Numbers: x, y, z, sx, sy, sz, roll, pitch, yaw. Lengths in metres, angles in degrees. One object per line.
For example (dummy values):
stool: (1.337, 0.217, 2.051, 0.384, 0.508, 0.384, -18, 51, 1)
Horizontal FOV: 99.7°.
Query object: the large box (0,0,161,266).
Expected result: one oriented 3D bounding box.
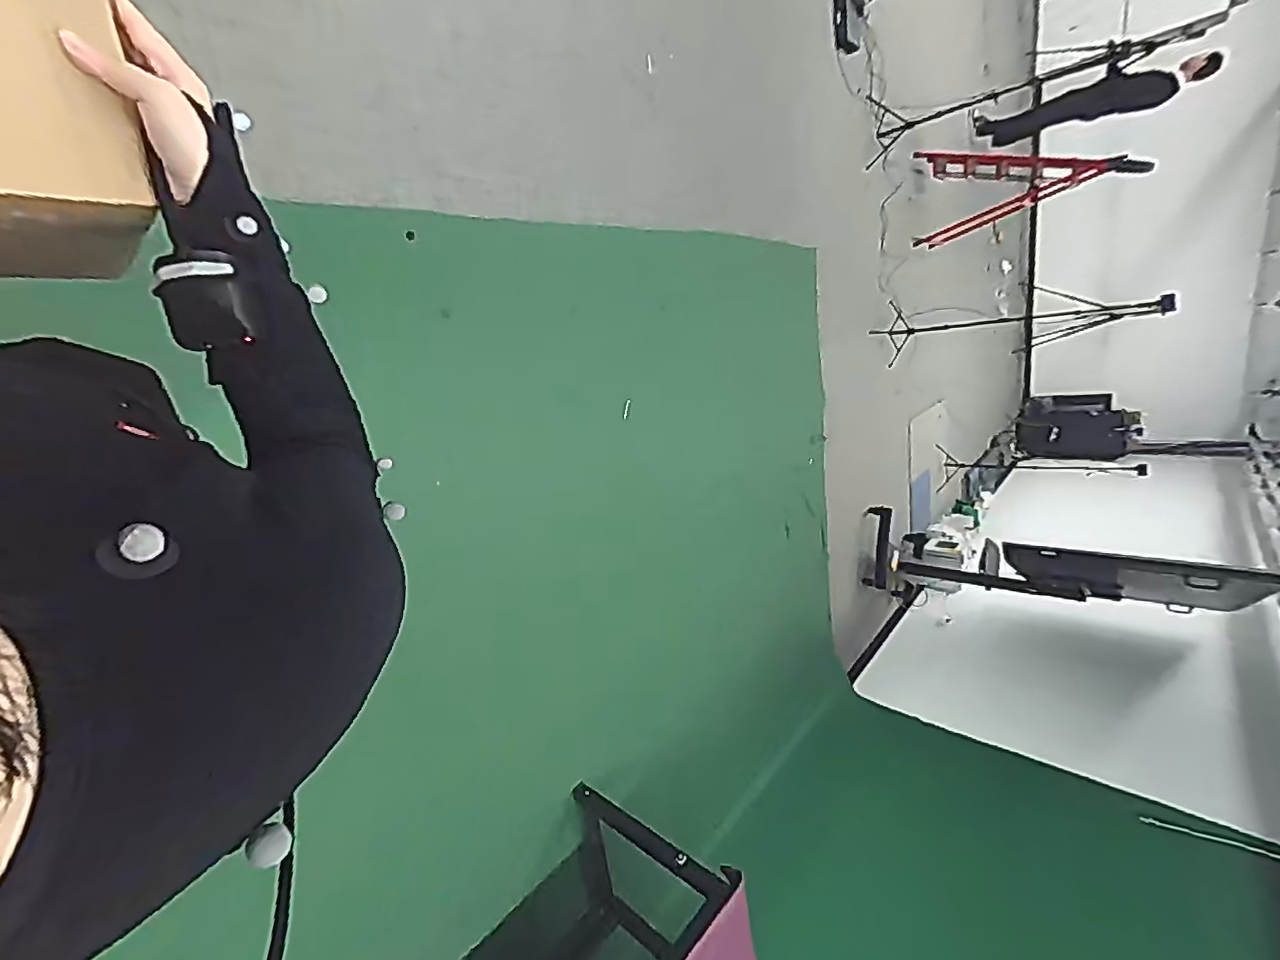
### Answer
large box: (-0.610, -0.316, 0.319, 0.408, 0.320, 0.320, -21, 111, -45)
